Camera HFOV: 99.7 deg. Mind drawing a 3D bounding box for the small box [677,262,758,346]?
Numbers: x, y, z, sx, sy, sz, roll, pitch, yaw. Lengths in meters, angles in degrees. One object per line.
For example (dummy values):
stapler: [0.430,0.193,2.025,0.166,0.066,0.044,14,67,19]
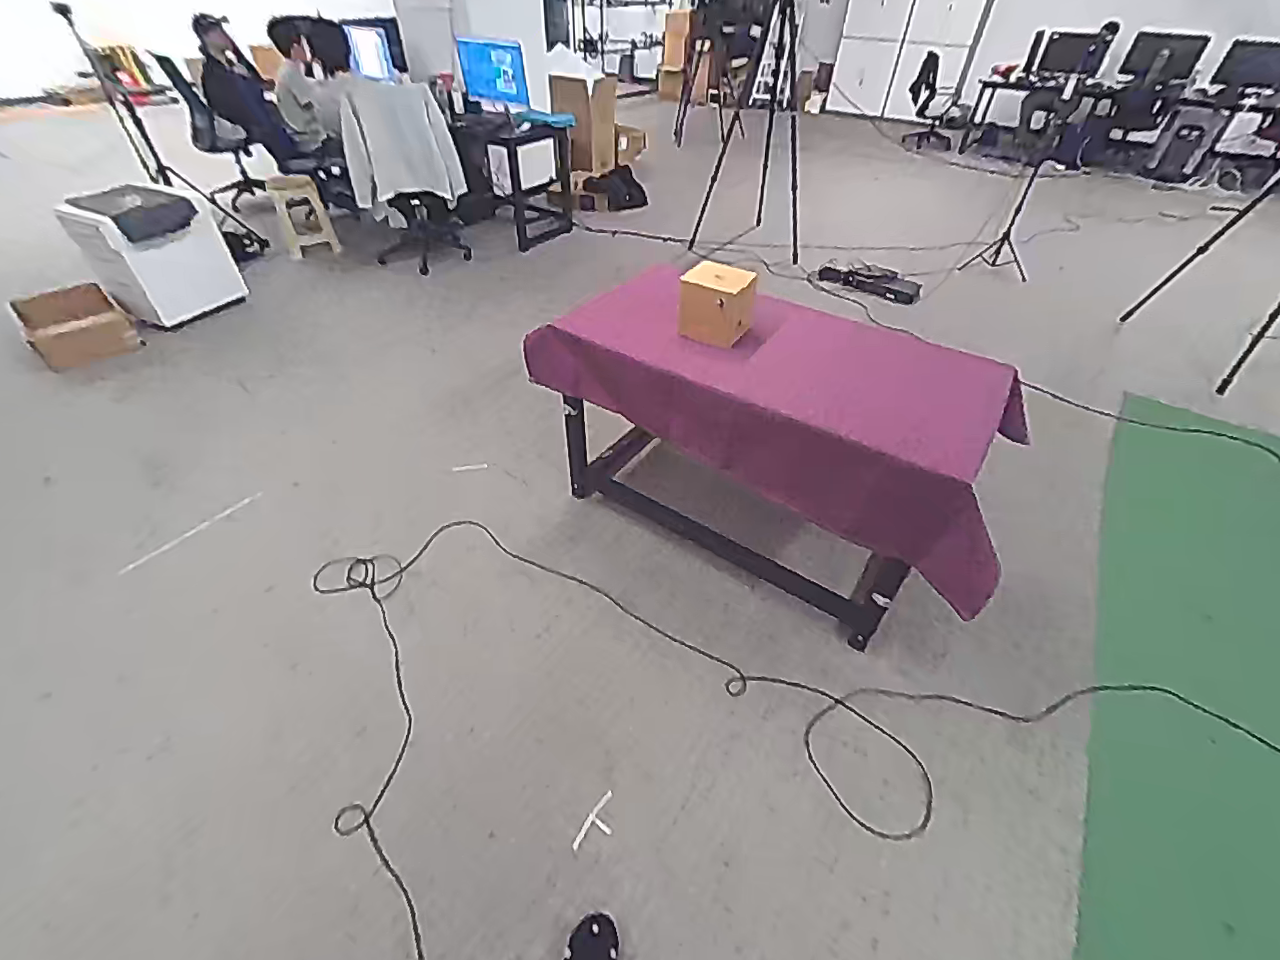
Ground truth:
small box: [0.222,-0.514,1.585,0.179,0.176,0.168,24,47,21]
